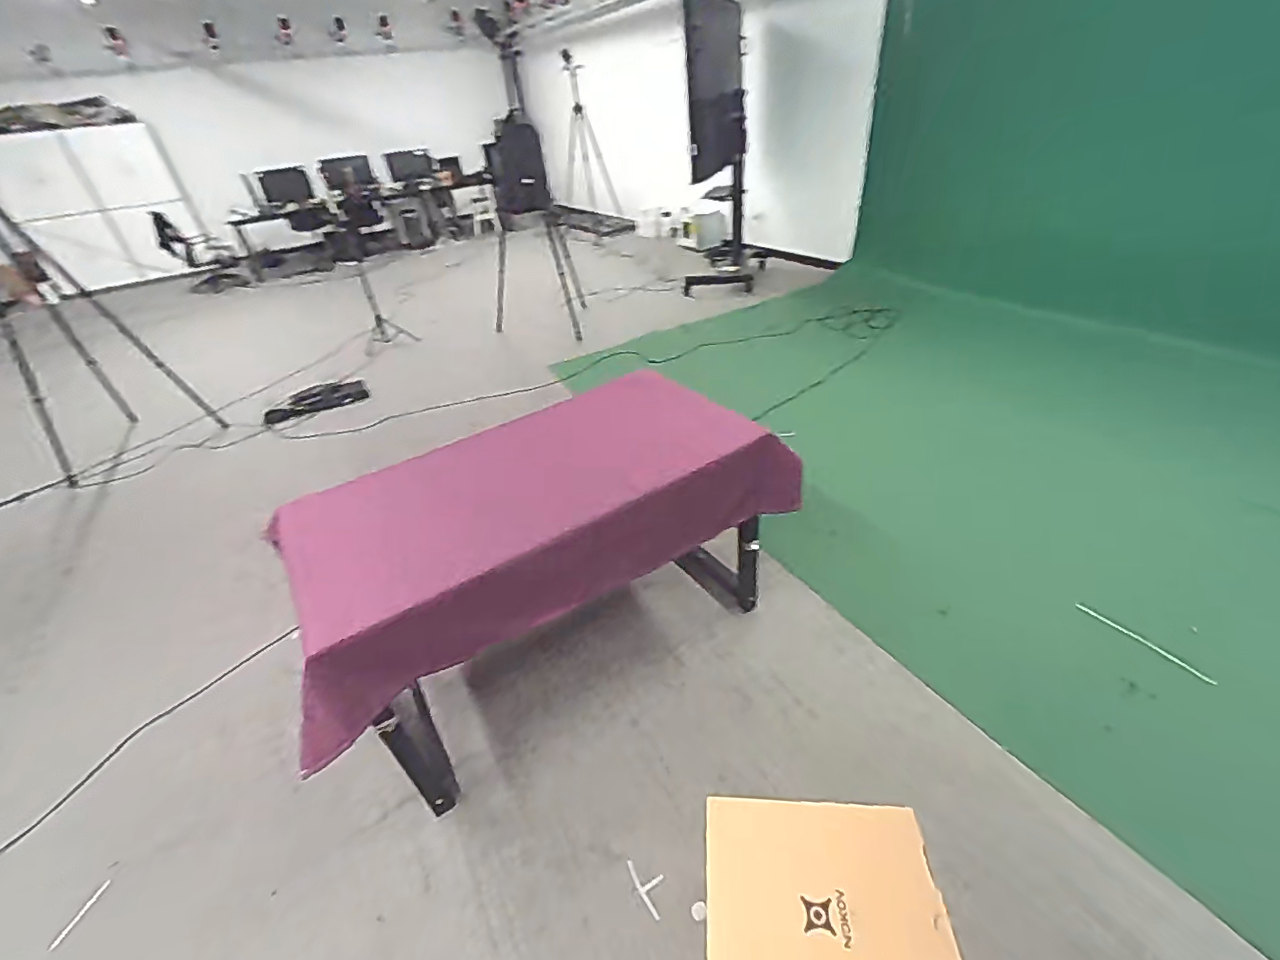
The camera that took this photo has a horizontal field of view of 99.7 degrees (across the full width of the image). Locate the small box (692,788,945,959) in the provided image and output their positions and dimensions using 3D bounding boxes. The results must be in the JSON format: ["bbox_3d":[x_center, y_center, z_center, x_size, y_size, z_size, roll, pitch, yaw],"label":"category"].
[{"bbox_3d":[0.137,0.386,0.449,0.179,0.176,0.168,-2,32,8],"label":"small box"}]
